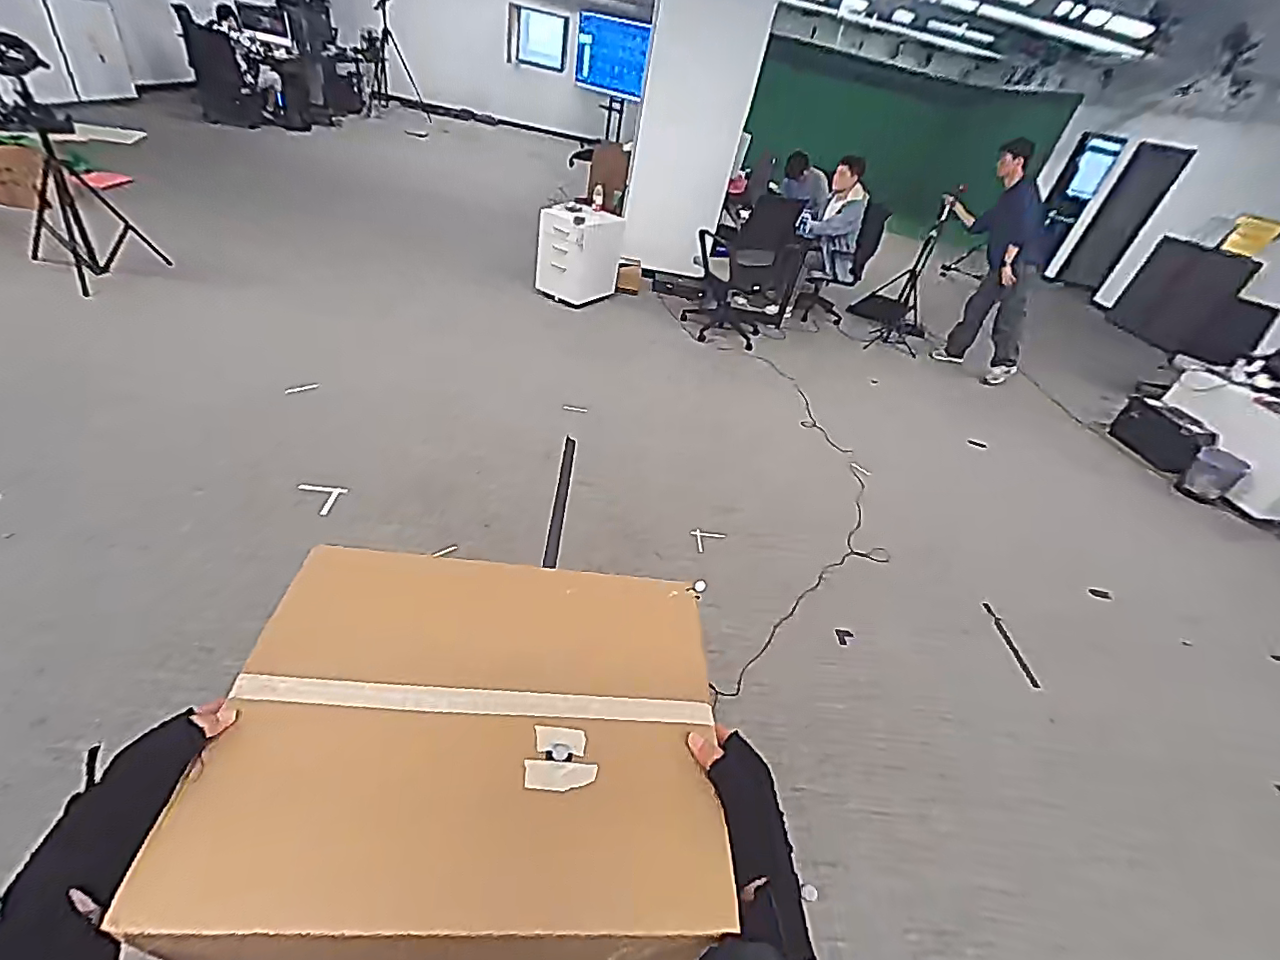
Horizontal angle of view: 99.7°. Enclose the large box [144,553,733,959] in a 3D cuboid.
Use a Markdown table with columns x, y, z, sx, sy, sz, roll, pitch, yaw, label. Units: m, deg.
| x | y | z | sx | sy | sz | roll | pitch | yaw | label |
| --- | --- | --- | --- | --- | --- | --- | --- | --- | --- |
| -0.159 | 0.309 | 0.578 | 0.408 | 0.320 | 0.320 | 7 | 41 | -9 | large box |
